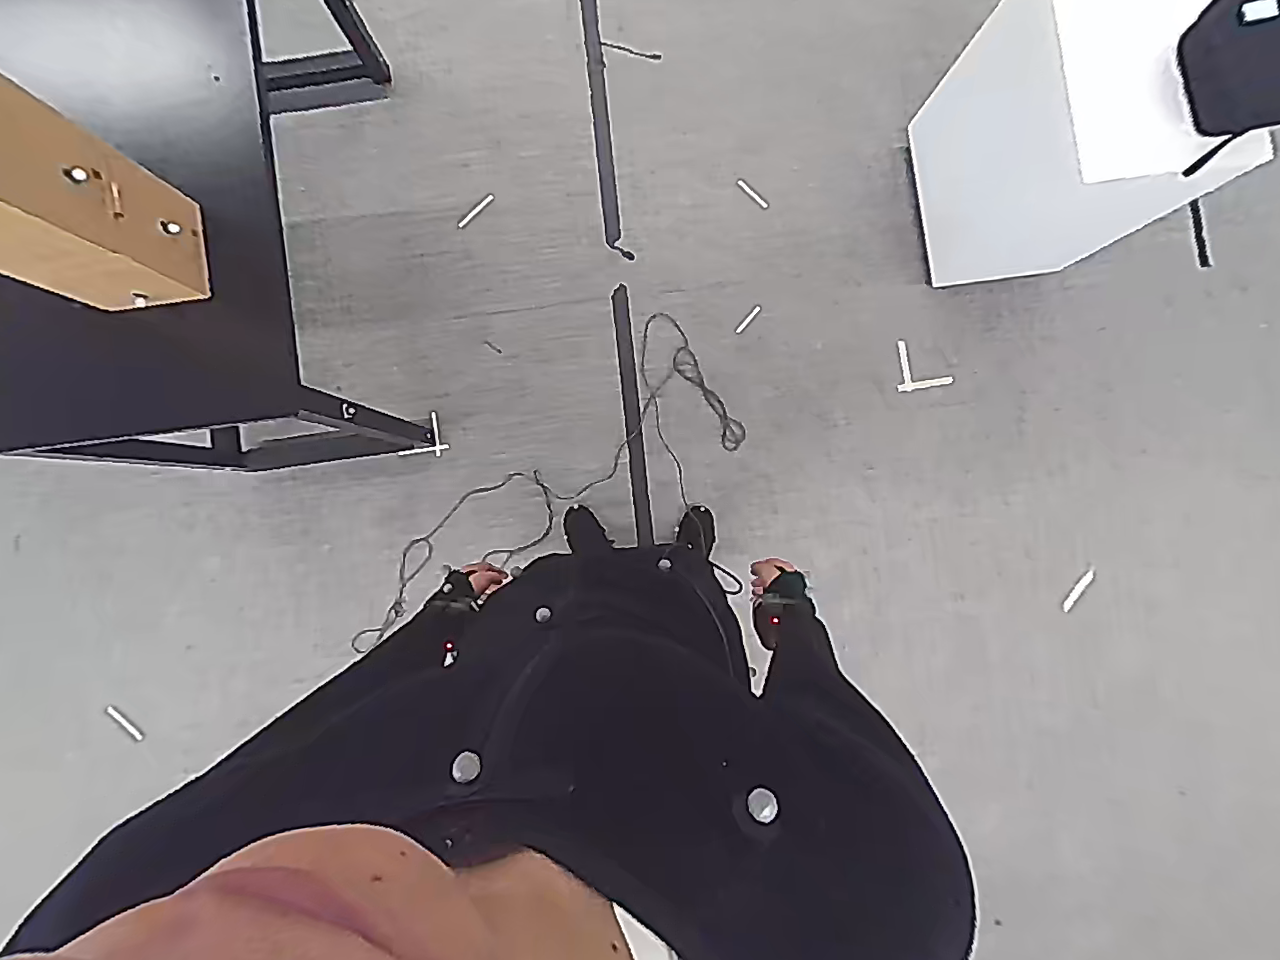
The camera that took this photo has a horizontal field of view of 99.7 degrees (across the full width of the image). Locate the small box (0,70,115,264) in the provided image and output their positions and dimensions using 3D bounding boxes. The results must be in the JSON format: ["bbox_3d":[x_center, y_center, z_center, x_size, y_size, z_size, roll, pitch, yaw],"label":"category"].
[{"bbox_3d":[-0.817,-0.384,0.666,0.179,0.176,0.168,-8,89,-1],"label":"small box"}]

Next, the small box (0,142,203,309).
[{"bbox_3d":[-0.818,-0.379,0.831,0.179,0.176,0.168,-9,88,-2],"label":"small box"}]
